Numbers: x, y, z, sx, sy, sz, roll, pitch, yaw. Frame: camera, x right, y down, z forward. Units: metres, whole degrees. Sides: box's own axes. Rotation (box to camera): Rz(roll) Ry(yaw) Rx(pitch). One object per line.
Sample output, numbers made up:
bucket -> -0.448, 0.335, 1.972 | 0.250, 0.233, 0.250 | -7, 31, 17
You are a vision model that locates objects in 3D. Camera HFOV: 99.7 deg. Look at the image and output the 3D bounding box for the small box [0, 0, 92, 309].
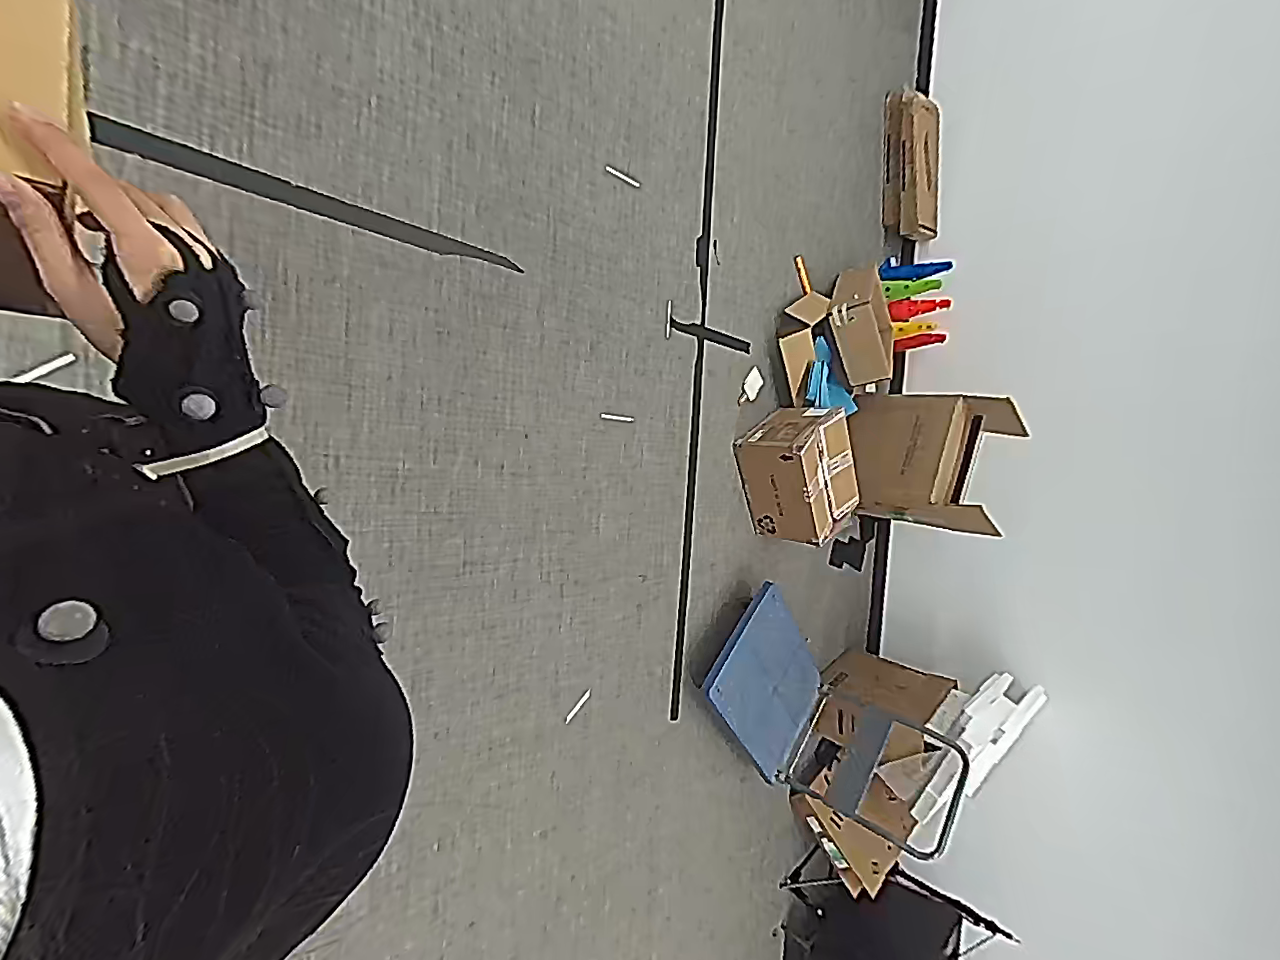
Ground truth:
small box -> -0.419, -0.211, 0.287 | 0.179, 0.176, 0.168 | 0, 79, -43
